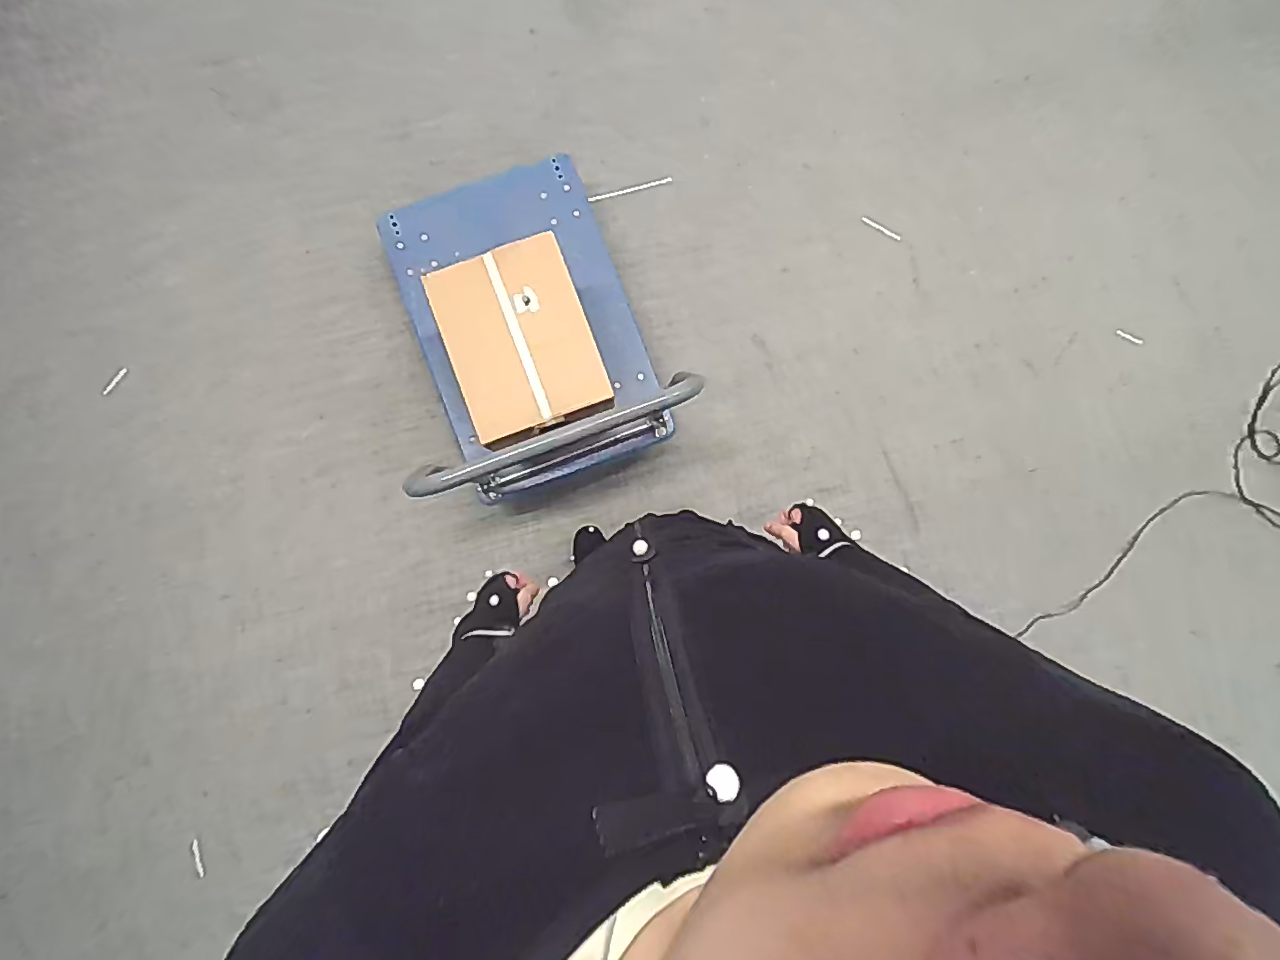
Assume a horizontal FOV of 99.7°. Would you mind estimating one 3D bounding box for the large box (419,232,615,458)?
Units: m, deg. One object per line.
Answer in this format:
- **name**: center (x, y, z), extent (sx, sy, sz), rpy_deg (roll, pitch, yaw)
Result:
- **large box**: center (-0.276, -0.305, 1.333), extent (0.320, 0.320, 0.408), rpy_deg (-21, 86, -4)
